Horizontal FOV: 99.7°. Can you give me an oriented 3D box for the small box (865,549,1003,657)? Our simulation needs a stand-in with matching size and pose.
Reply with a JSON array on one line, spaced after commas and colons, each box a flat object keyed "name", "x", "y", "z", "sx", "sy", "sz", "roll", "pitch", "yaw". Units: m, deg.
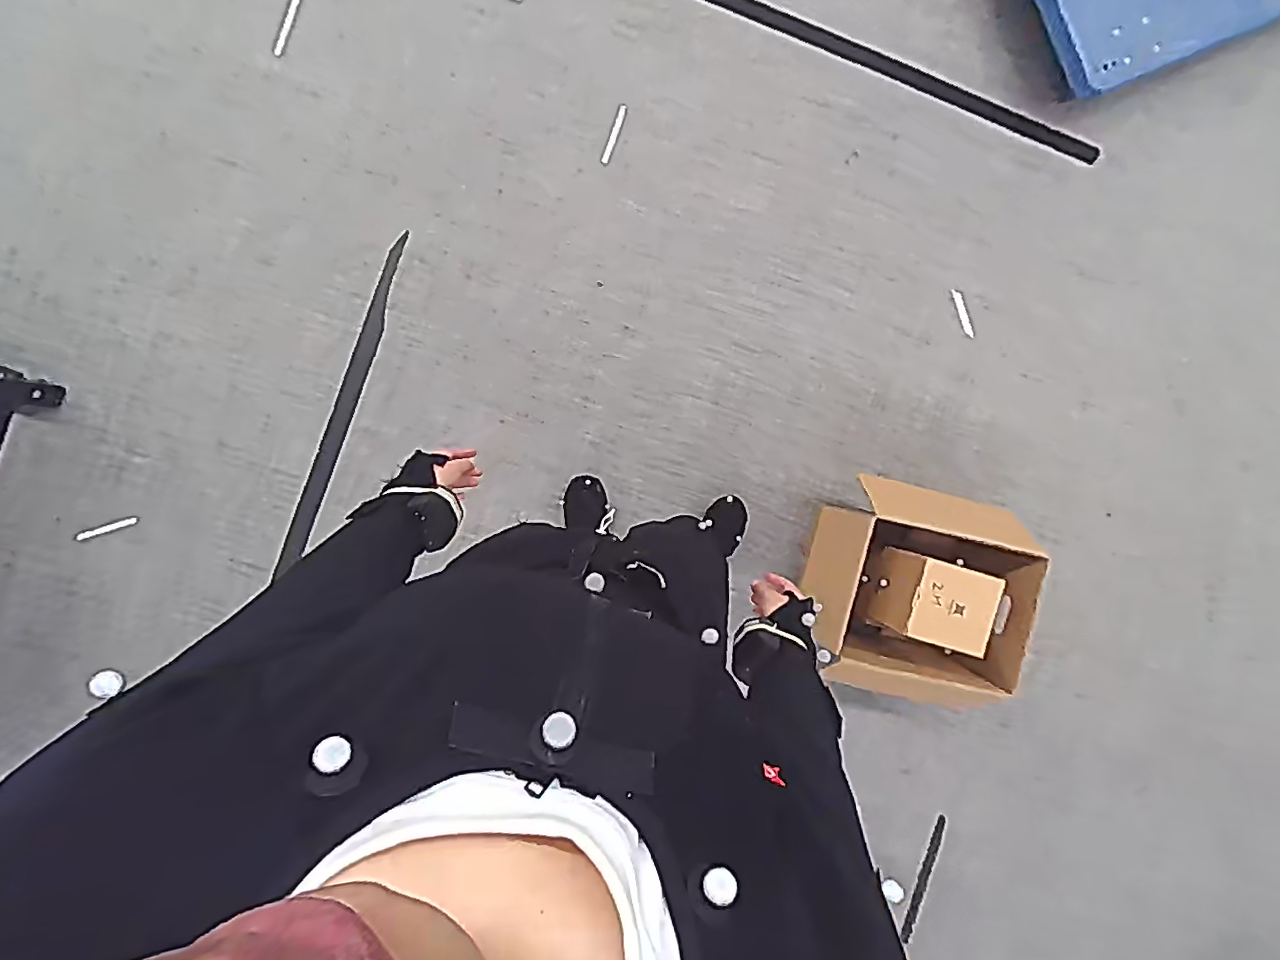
[{"name": "small box", "x": 0.627, "y": 0.256, "z": 1.171, "sx": 0.179, "sy": 0.176, "sz": 0.168, "roll": 17, "pitch": 89, "yaw": -4}]
